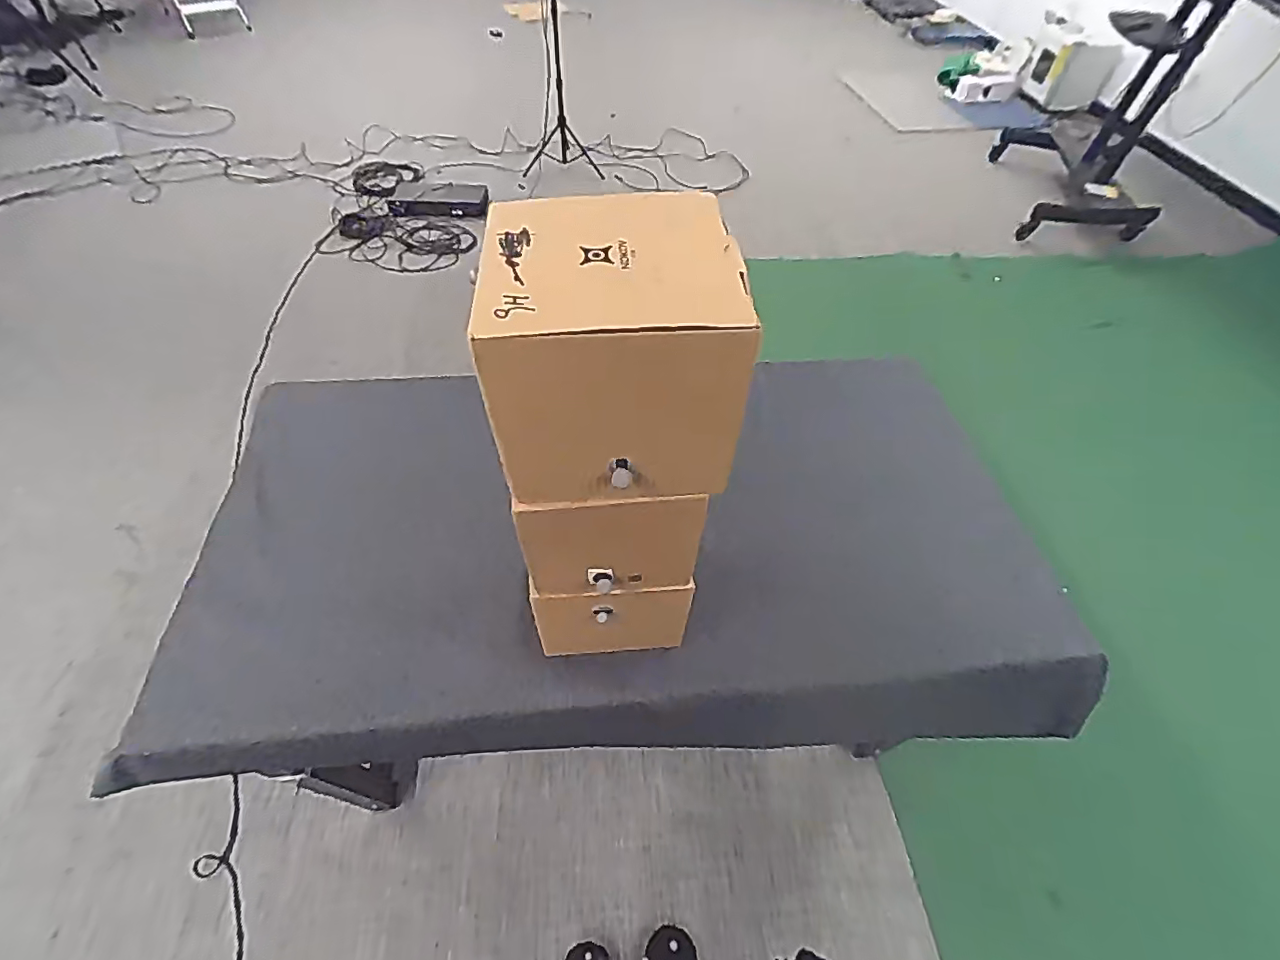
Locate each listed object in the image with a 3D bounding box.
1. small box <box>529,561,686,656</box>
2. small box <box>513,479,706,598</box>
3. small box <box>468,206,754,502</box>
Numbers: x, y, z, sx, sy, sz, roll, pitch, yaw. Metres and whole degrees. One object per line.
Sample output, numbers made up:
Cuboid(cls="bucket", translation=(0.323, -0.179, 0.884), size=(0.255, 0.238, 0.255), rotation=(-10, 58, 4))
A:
Cuboid(cls="small box", translation=(-0.043, 0.118, 0.701), size=(0.179, 0.176, 0.168), rotation=(-3, 53, -6))
Cuboid(cls="small box", translation=(-0.036, 0.003, 0.565), size=(0.168, 0.176, 0.179), rotation=(-5, 54, -5))
Cuboid(cls="small box", translation=(-0.025, -0.096, 0.435), size=(0.179, 0.176, 0.168), rotation=(-3, 52, -4))
